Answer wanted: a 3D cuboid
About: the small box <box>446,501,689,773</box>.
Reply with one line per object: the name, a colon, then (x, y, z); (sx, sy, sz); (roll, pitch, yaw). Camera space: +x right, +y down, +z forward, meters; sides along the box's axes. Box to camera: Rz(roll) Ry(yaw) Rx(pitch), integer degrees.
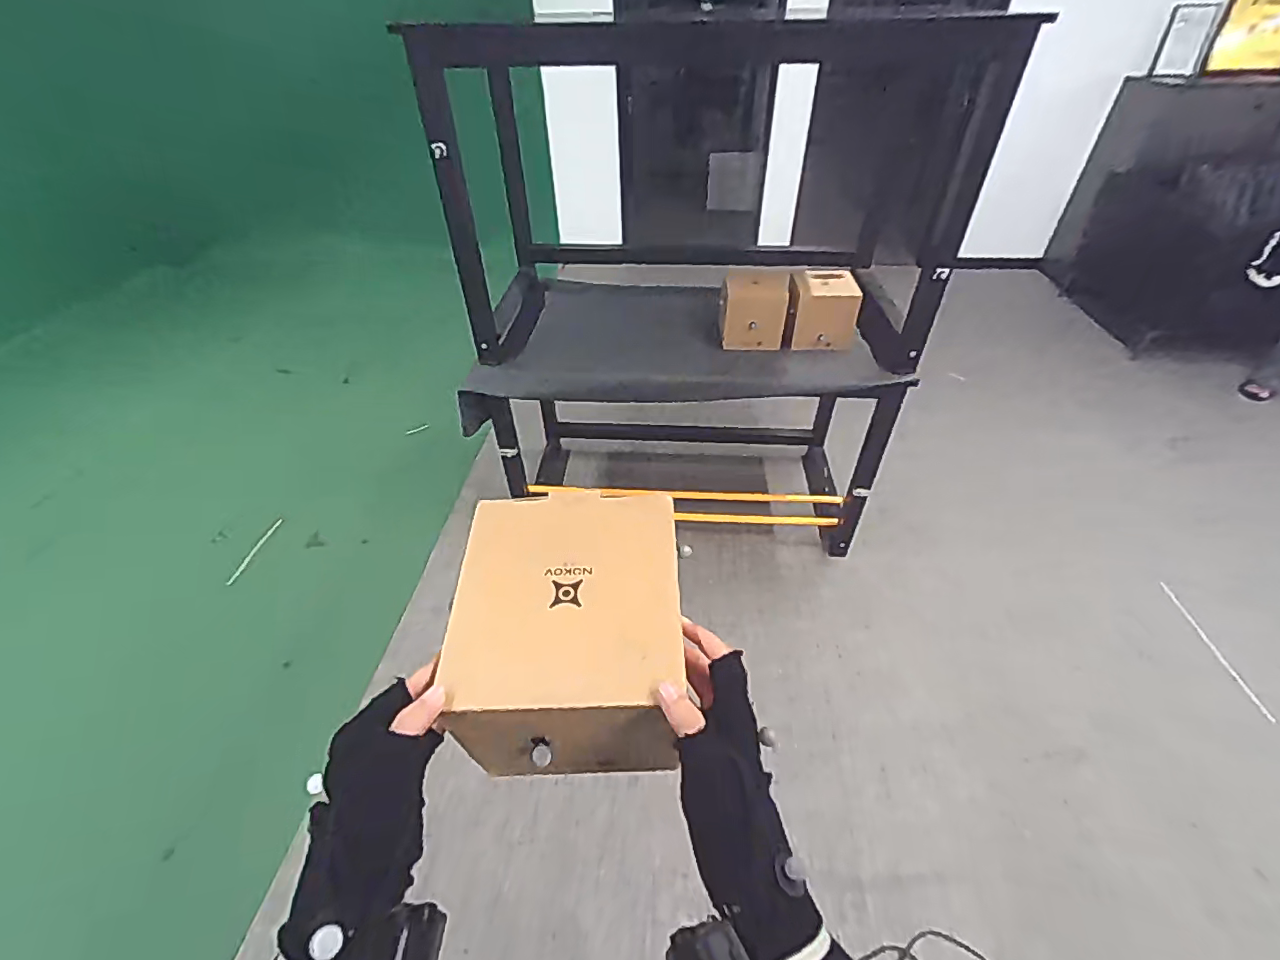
small box: (-0.046, 0.140, 0.466); (0.168, 0.176, 0.179); (-3, 48, 0)
